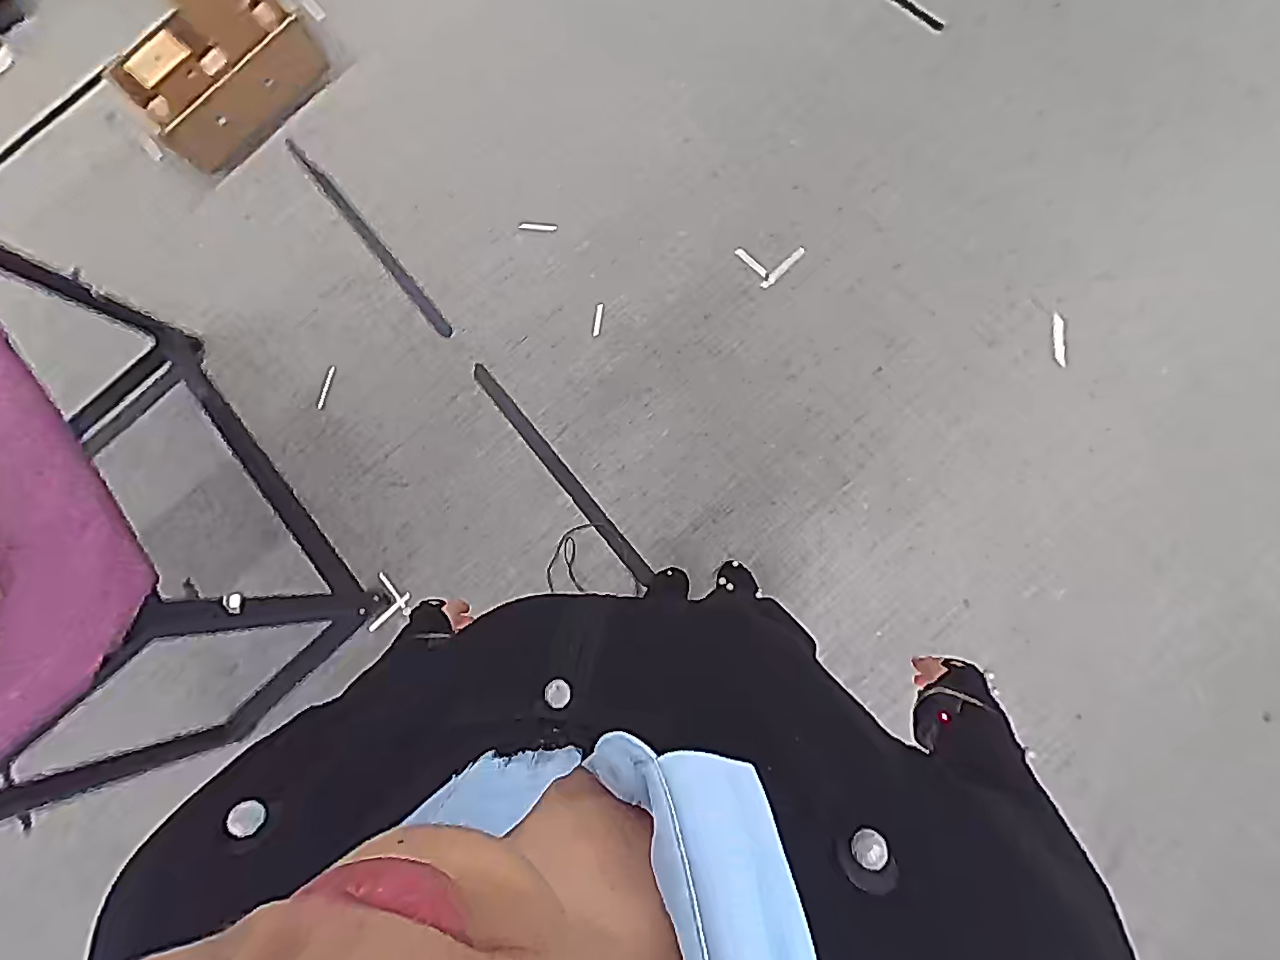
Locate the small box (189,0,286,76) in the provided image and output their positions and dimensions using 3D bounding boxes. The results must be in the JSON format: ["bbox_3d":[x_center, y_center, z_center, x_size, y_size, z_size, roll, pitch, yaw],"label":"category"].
[{"bbox_3d":[-1.400,-1.571,1.888,0.179,0.176,0.168,44,88,12],"label":"small box"}]

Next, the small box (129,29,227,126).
[{"bbox_3d":[-1.583,-1.387,1.870,0.168,0.176,0.179,42,85,13],"label":"small box"}]
